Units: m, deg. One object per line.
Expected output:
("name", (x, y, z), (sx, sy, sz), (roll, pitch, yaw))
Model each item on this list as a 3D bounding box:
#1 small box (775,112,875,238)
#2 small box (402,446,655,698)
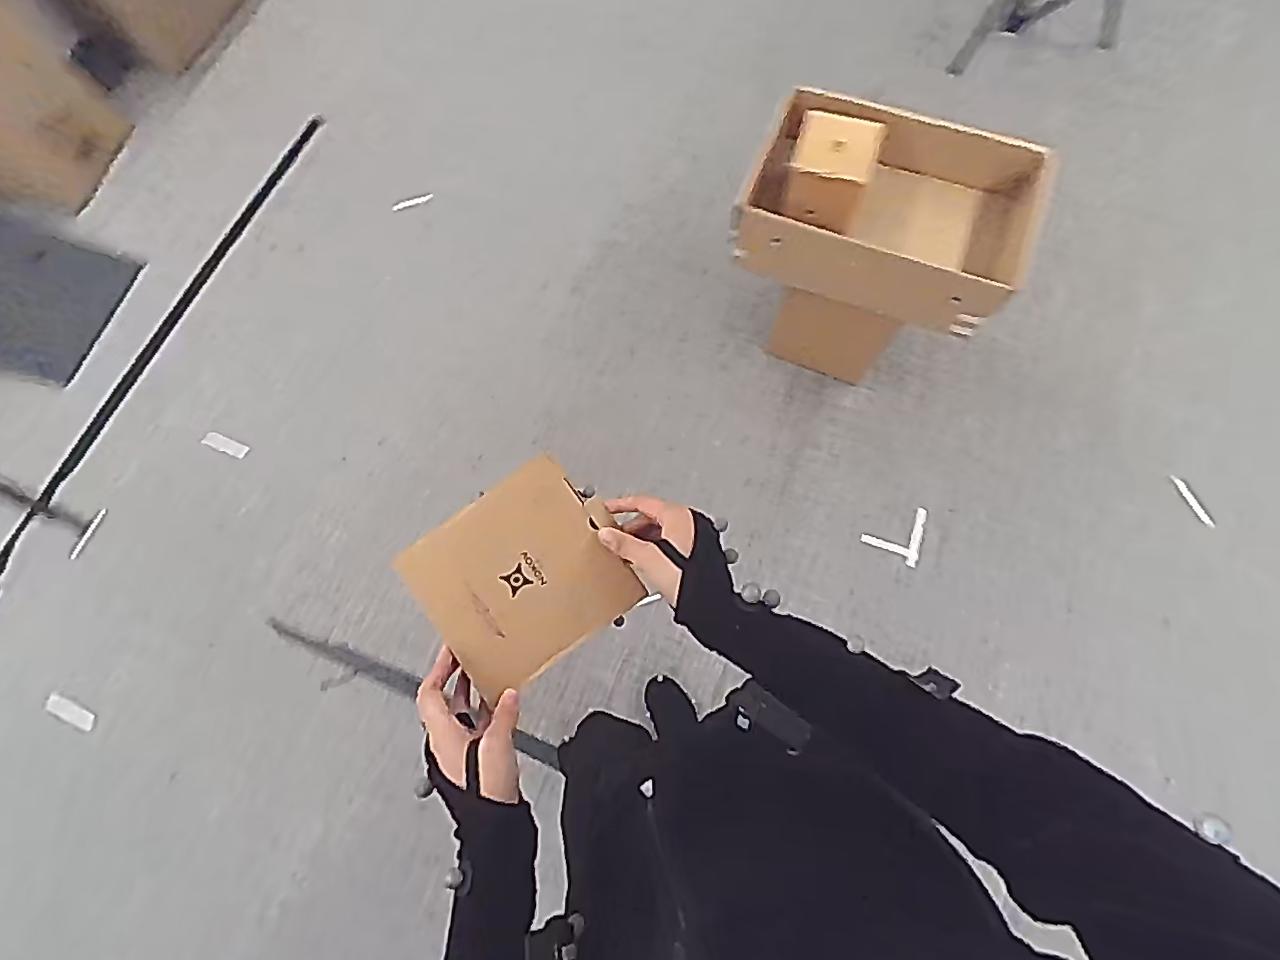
("small box", (0.427, -0.712, 1.273), (0.168, 0.176, 0.179), (16, 75, 8))
("small box", (-0.104, 0.089, 0.569), (0.179, 0.176, 0.168), (-35, 85, -5))
